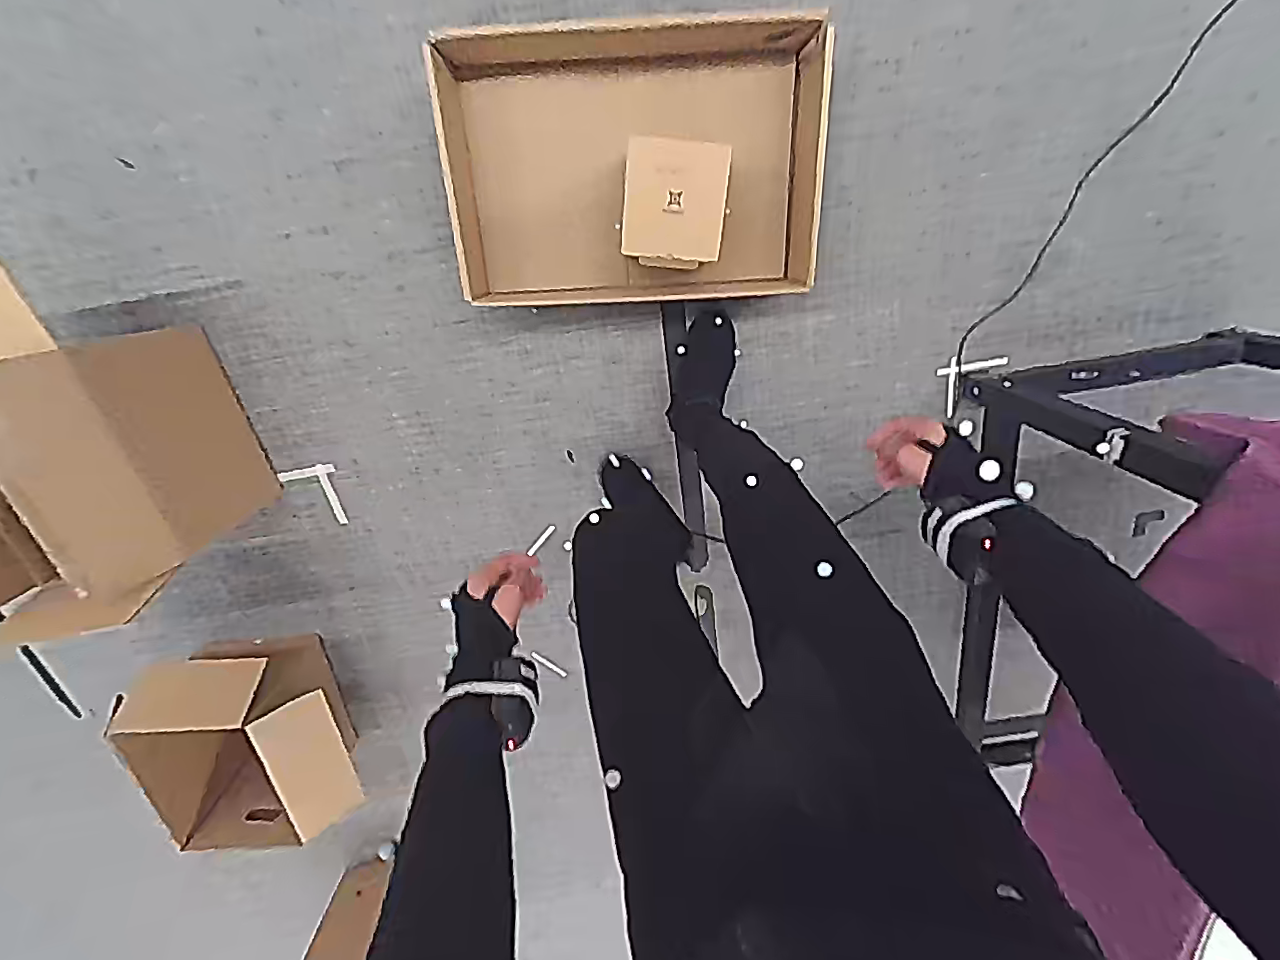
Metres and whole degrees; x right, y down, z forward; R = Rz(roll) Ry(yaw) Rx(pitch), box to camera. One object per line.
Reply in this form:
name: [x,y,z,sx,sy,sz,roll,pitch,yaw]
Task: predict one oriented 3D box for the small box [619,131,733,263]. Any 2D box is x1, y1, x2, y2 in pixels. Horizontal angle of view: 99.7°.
small box: [0.054,-0.478,0.932,0.168,0.176,0.179,4,113,-2]
